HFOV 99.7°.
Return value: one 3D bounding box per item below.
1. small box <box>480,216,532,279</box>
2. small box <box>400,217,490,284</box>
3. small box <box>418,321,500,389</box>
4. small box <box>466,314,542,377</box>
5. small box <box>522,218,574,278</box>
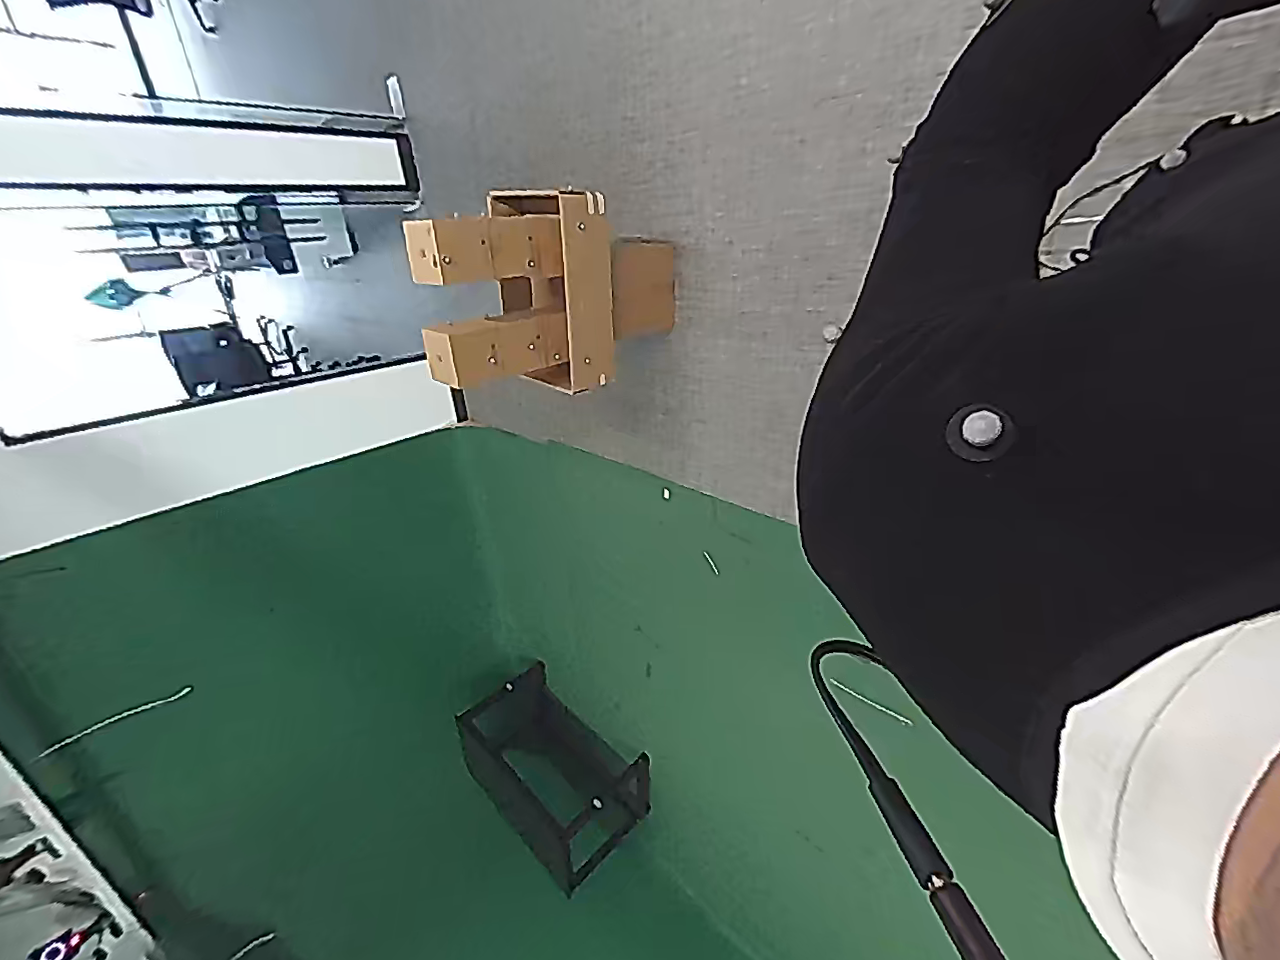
[{"bbox_3d":[-0.442,-0.712,1.652,0.179,0.176,0.168,21,123,40],"label":"small box"},{"bbox_3d":[-0.552,-0.656,1.544,0.179,0.176,0.168,21,124,39],"label":"small box"},{"bbox_3d":[-0.559,-0.396,1.682,0.179,0.176,0.168,23,125,39],"label":"small box"},{"bbox_3d":[-0.447,-0.450,1.788,0.179,0.176,0.168,22,125,40],"label":"small box"},{"bbox_3d":[-0.333,-0.761,1.765,0.179,0.176,0.168,25,126,37],"label":"small box"}]
